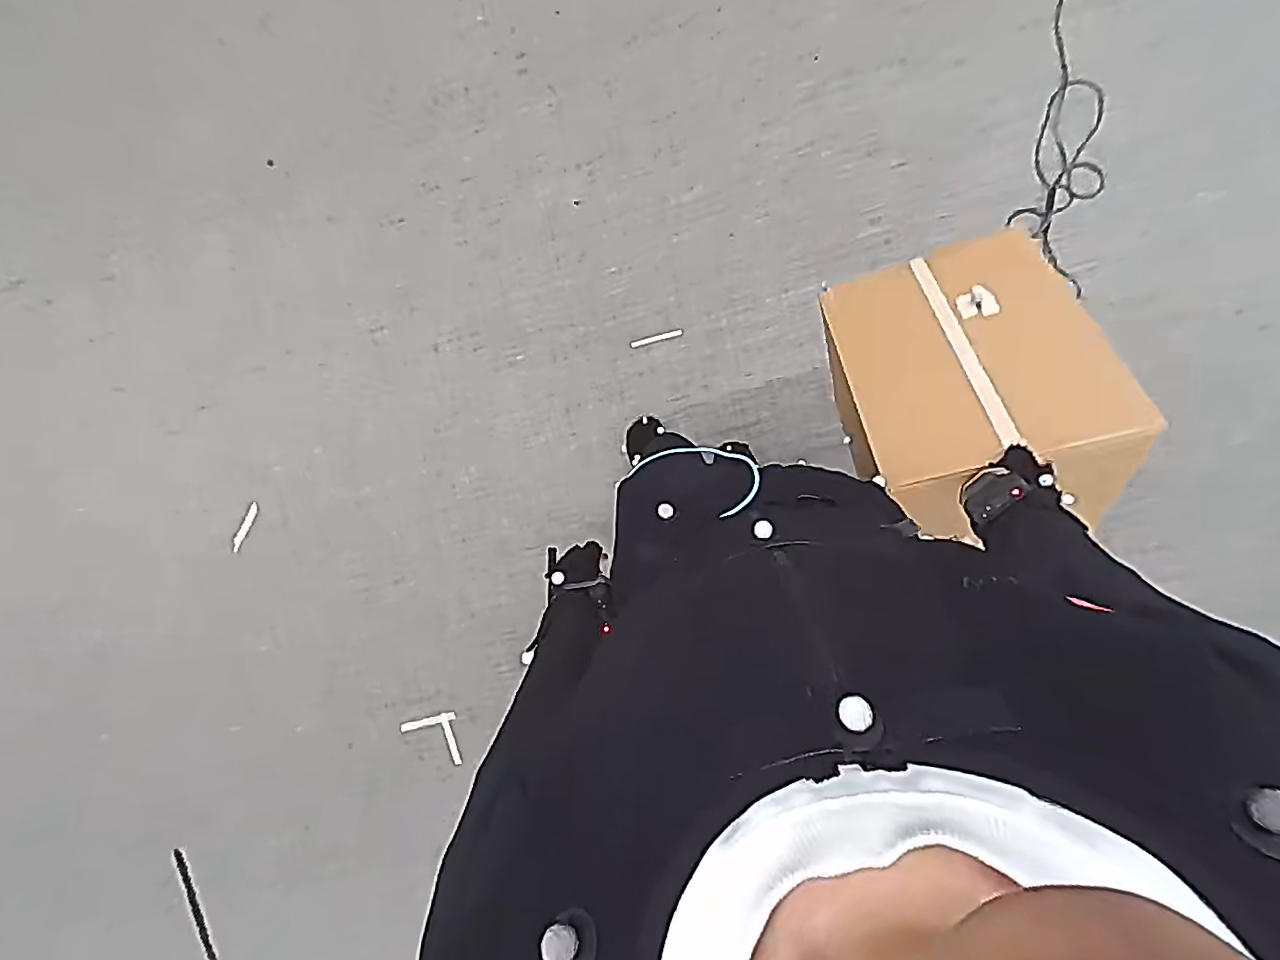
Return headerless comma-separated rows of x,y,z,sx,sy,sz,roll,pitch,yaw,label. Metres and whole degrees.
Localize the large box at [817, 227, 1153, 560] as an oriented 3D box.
0.521,-0.128,0.913,0.320,0.320,0.408,-15,56,16,large box
